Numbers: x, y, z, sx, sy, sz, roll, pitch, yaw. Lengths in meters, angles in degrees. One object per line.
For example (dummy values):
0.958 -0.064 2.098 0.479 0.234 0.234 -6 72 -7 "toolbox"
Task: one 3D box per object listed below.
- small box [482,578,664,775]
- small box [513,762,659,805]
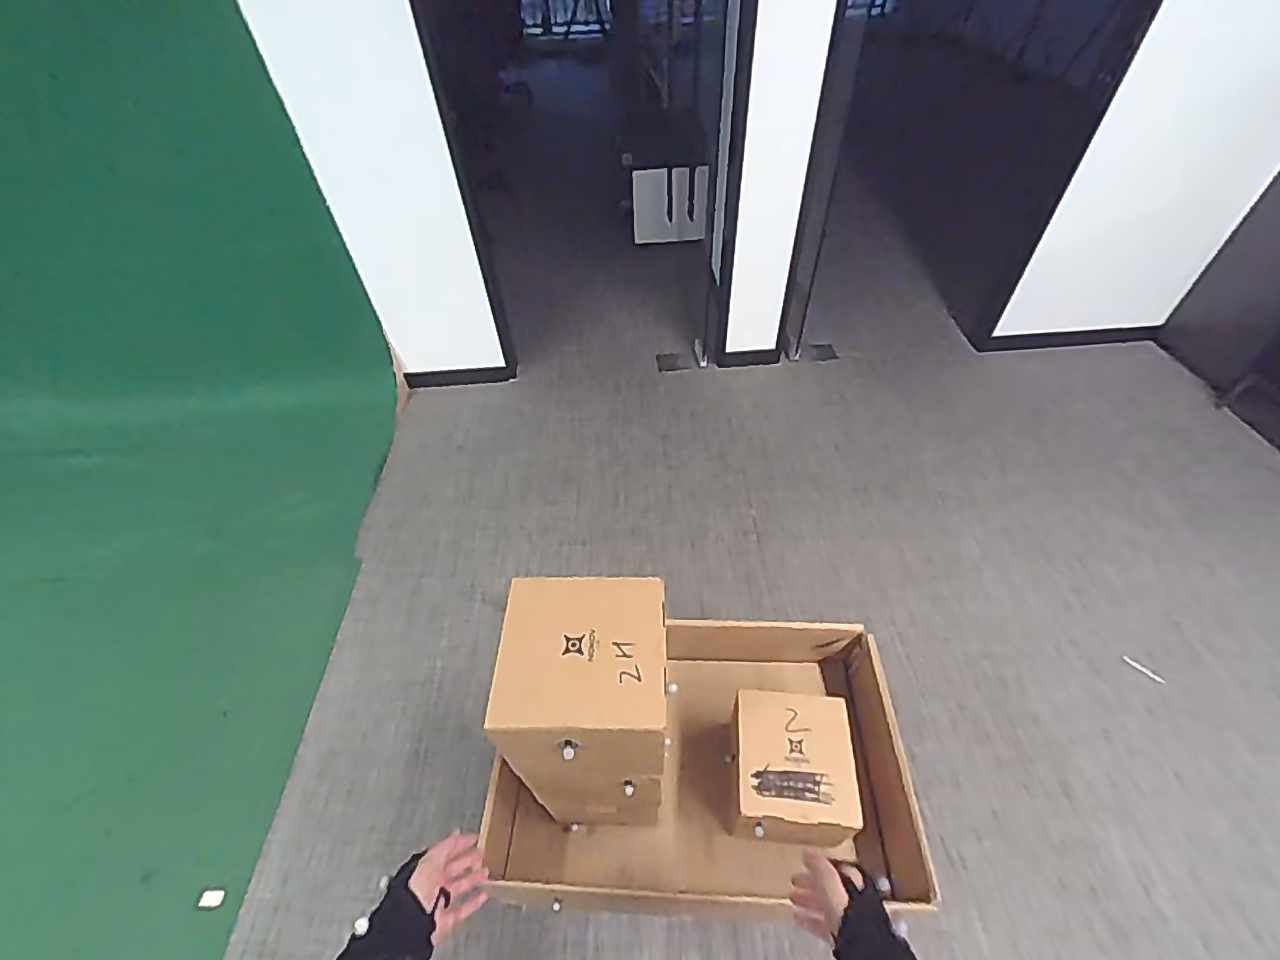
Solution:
-0.062 0.228 0.621 0.179 0.176 0.168 1 49 1 "small box"
-0.061 0.337 0.746 0.179 0.176 0.168 1 48 1 "small box"
